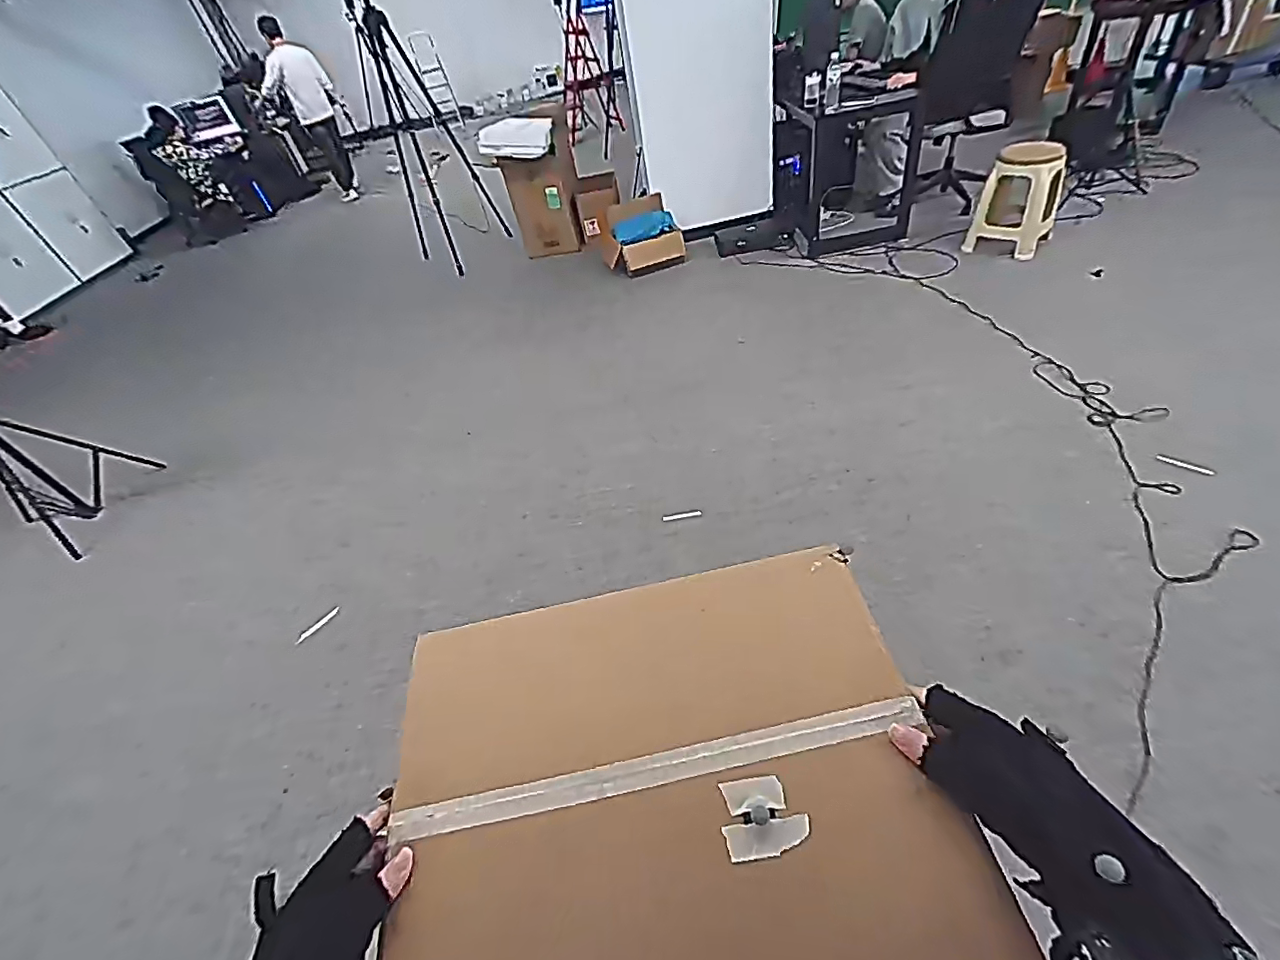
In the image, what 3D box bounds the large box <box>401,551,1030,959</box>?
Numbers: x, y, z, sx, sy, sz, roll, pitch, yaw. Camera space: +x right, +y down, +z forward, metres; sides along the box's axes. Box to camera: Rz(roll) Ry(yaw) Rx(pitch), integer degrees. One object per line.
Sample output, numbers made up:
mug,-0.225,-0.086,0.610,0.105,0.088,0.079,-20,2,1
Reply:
large box,0.038,0.321,0.528,0.408,0.320,0.320,-13,48,-1
